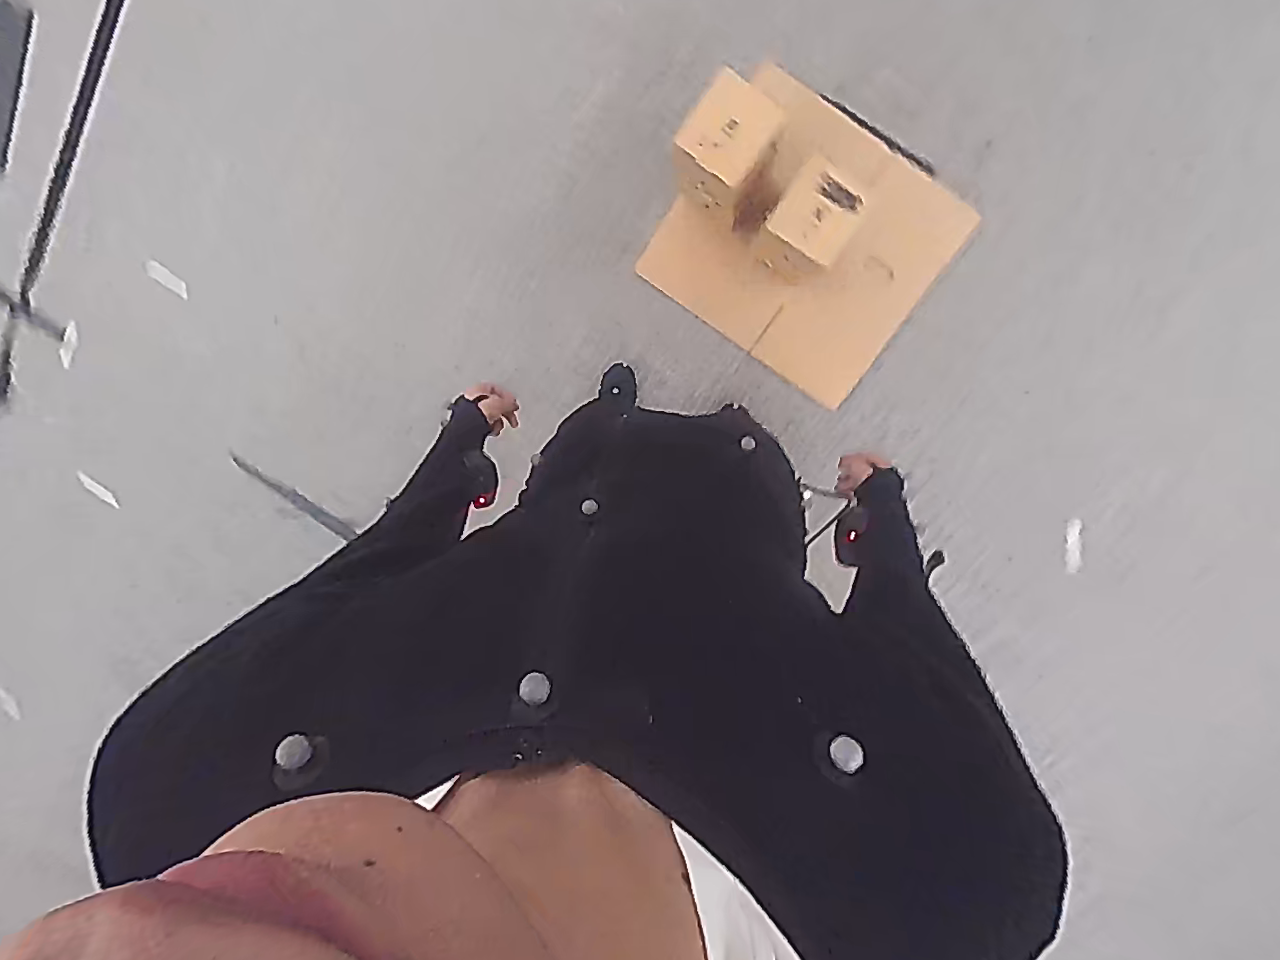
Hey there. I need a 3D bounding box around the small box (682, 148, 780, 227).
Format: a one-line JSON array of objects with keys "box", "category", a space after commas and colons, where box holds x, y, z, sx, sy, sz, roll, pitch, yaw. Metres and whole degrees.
[{"box": [0.225, -0.766, 1.349, 0.168, 0.176, 0.179, 38, 105, -2], "category": "small box"}]

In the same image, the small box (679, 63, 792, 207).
[{"box": [0.202, -0.742, 1.186, 0.168, 0.176, 0.179, 39, 104, -2], "category": "small box"}]

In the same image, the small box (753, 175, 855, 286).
[{"box": [0.400, -0.617, 1.361, 0.168, 0.176, 0.179, 39, 104, -3], "category": "small box"}]
